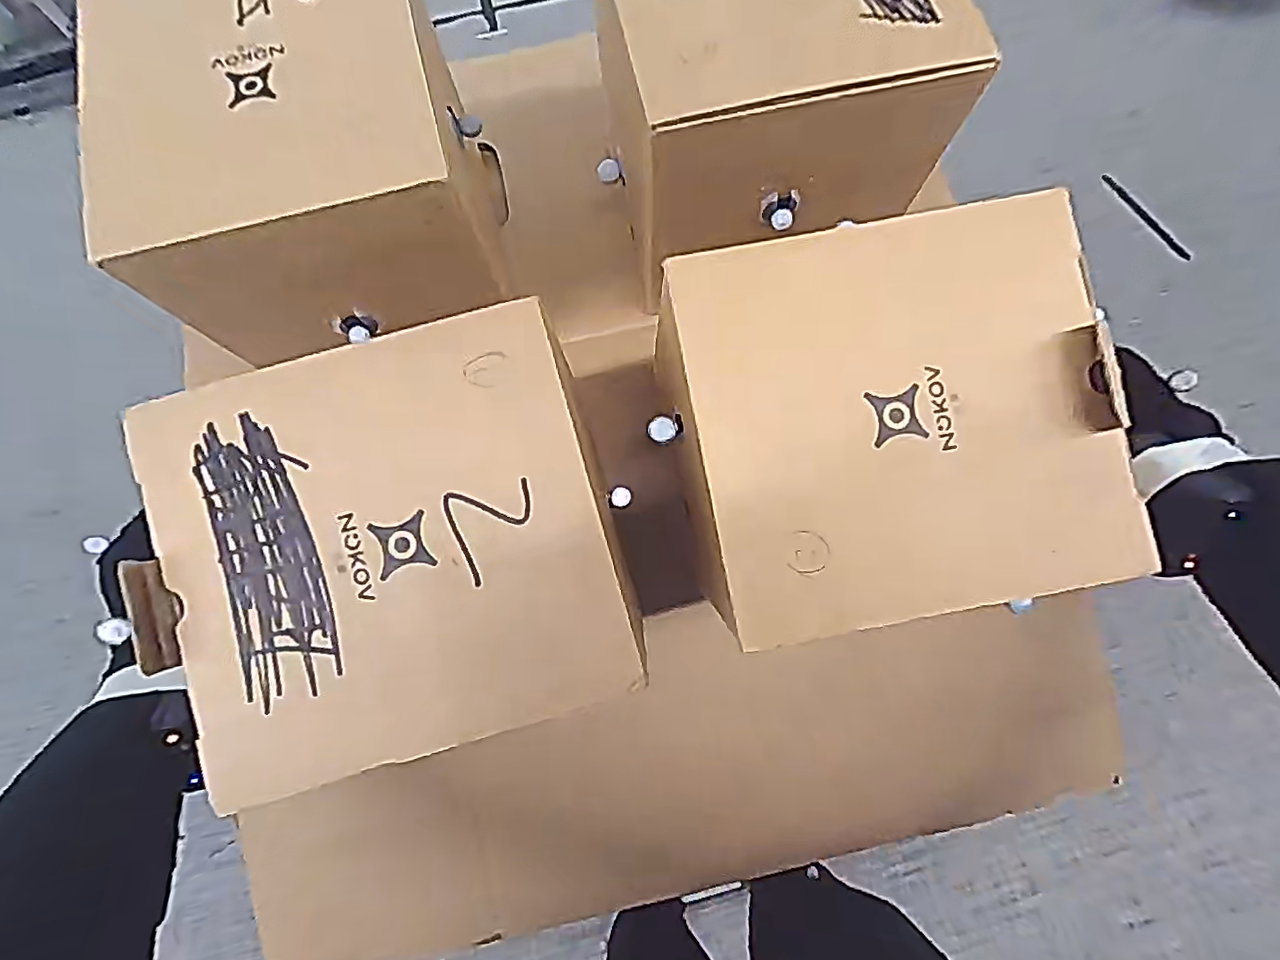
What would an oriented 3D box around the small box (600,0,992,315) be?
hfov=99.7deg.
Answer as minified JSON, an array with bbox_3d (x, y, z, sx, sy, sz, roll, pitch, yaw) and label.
[{"bbox_3d":[0.073,-0.233,0.354,0.179,0.176,0.168,-12,76,-1],"label":"small box"}]

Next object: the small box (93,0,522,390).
[{"bbox_3d":[-0.185,-0.173,0.346,0.168,0.176,0.179,-14,75,-2],"label":"small box"}]
